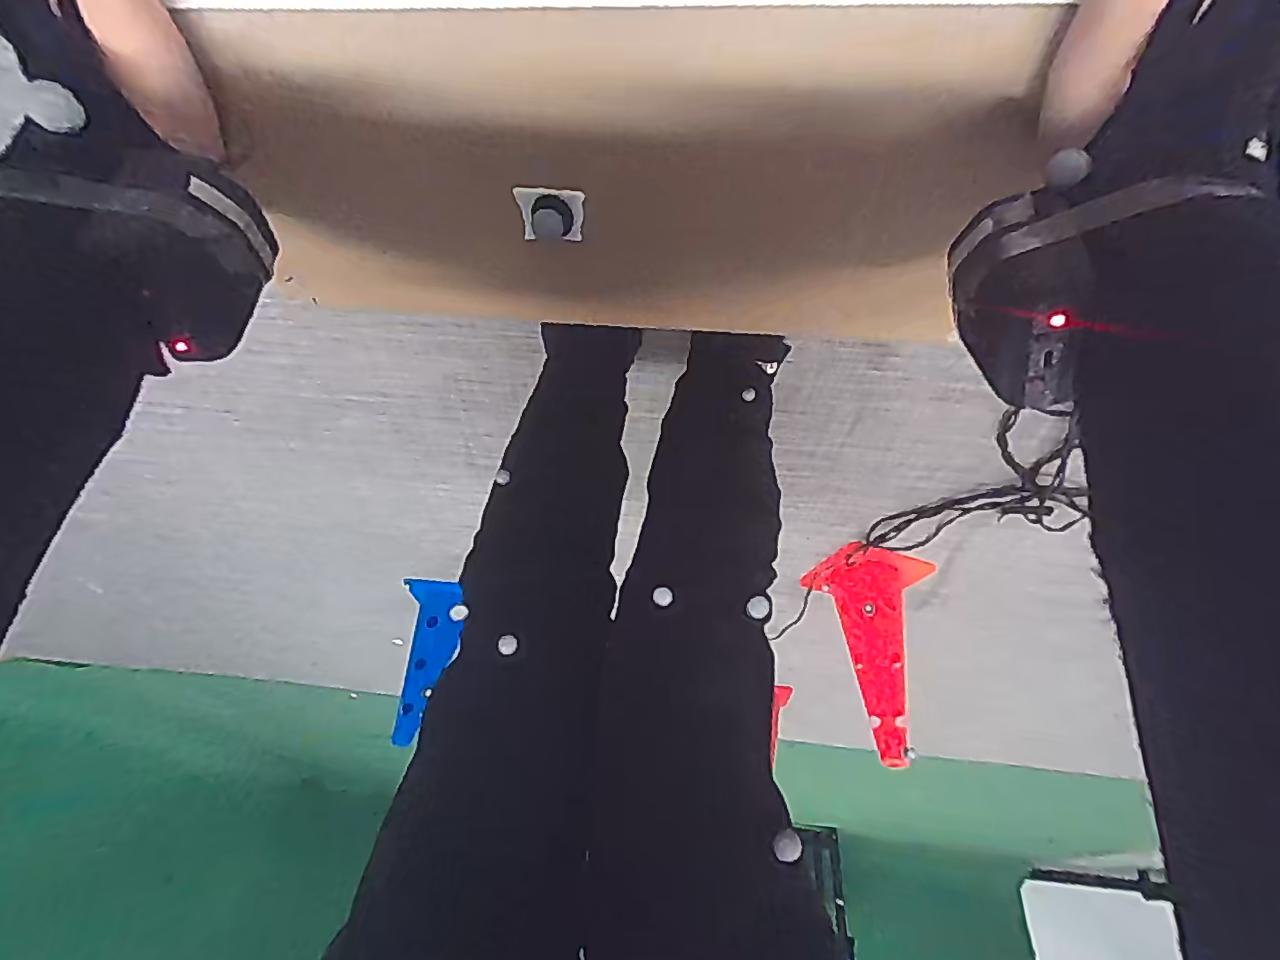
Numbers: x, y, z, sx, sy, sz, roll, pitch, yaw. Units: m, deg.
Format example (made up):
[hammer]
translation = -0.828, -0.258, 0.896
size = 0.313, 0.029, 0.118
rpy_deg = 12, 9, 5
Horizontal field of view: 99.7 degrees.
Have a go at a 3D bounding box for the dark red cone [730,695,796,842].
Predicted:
[dark red cone]
translation = 0.375, 0.856, 1.629
size = 0.202, 0.394, 0.201
rpy_deg = 0, 144, 10

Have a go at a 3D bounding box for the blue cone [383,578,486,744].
[blue cone]
translation = -0.529, 0.442, 1.326
size = 0.192, 0.380, 0.193
rpy_deg = 5, 141, 4

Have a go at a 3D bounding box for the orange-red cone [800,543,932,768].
[orange-red cone]
translation = 0.435, 0.324, 0.987
size = 0.199, 0.360, 0.198
rpy_deg = 16, 142, -13
